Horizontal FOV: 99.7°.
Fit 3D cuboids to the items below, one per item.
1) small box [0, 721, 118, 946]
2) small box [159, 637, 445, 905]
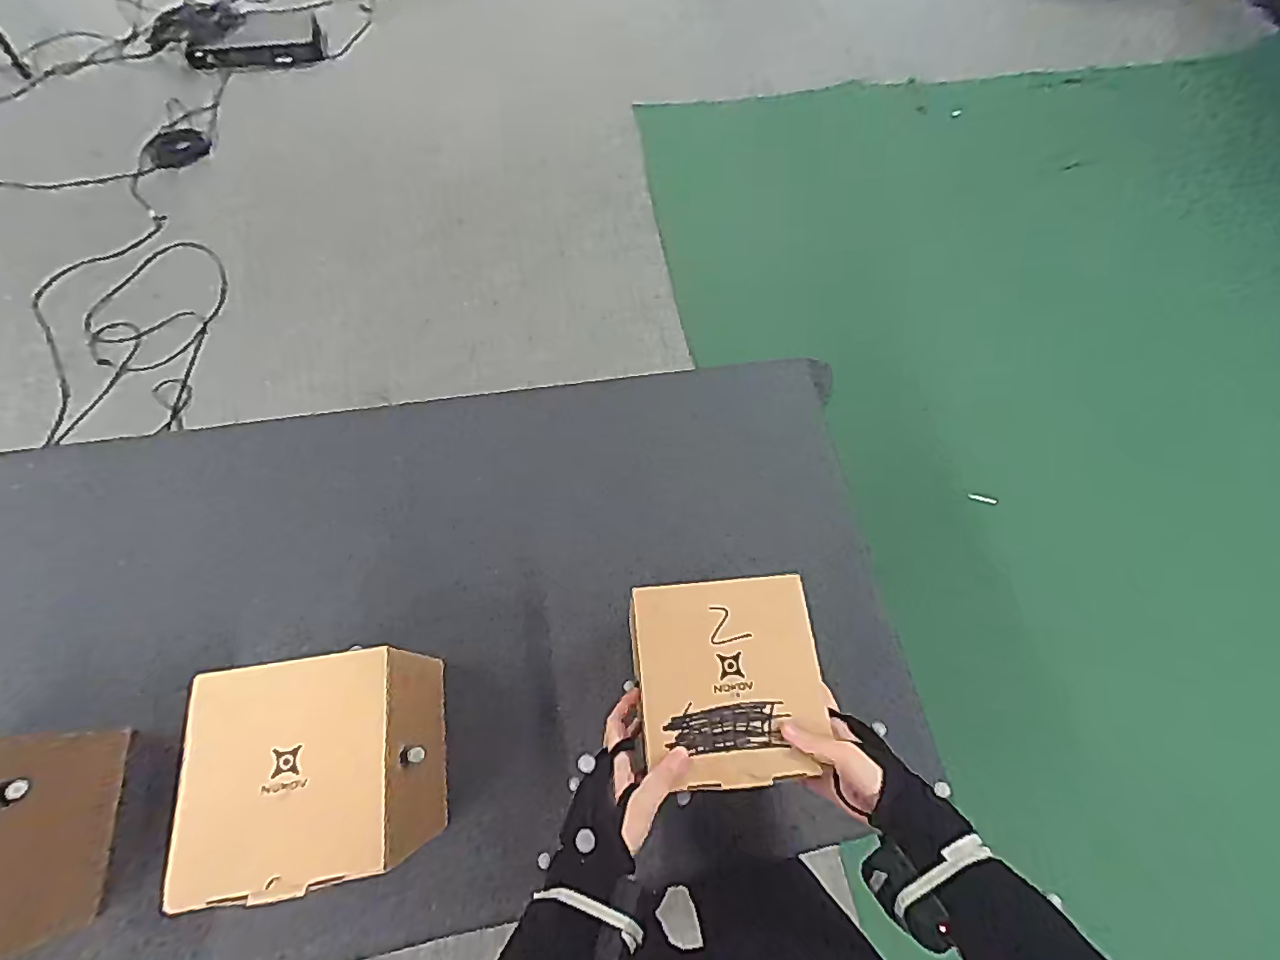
[{"bbox_3d":[-0.615,0.310,0.465,0.168,0.176,0.179,-5,68,-5],"label":"small box"},{"bbox_3d":[-0.291,0.257,0.511,0.168,0.176,0.179,-6,68,-7],"label":"small box"}]
